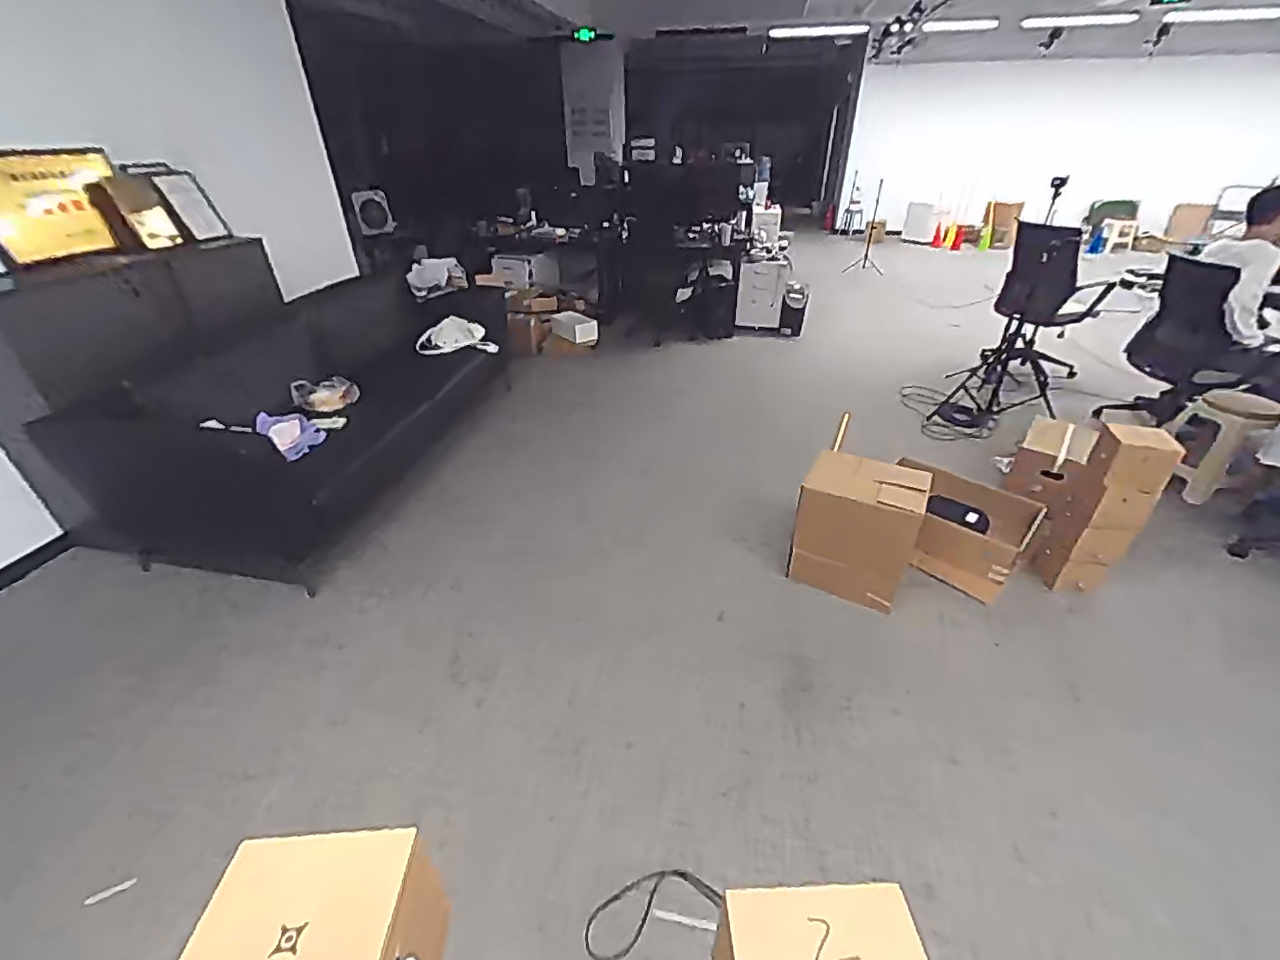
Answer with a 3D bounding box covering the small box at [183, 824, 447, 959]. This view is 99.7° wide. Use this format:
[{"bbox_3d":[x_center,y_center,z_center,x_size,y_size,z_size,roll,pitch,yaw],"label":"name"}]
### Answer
[{"bbox_3d":[-0.284,0.446,0.484,0.168,0.176,0.179,-2,31,-2],"label":"small box"}]
